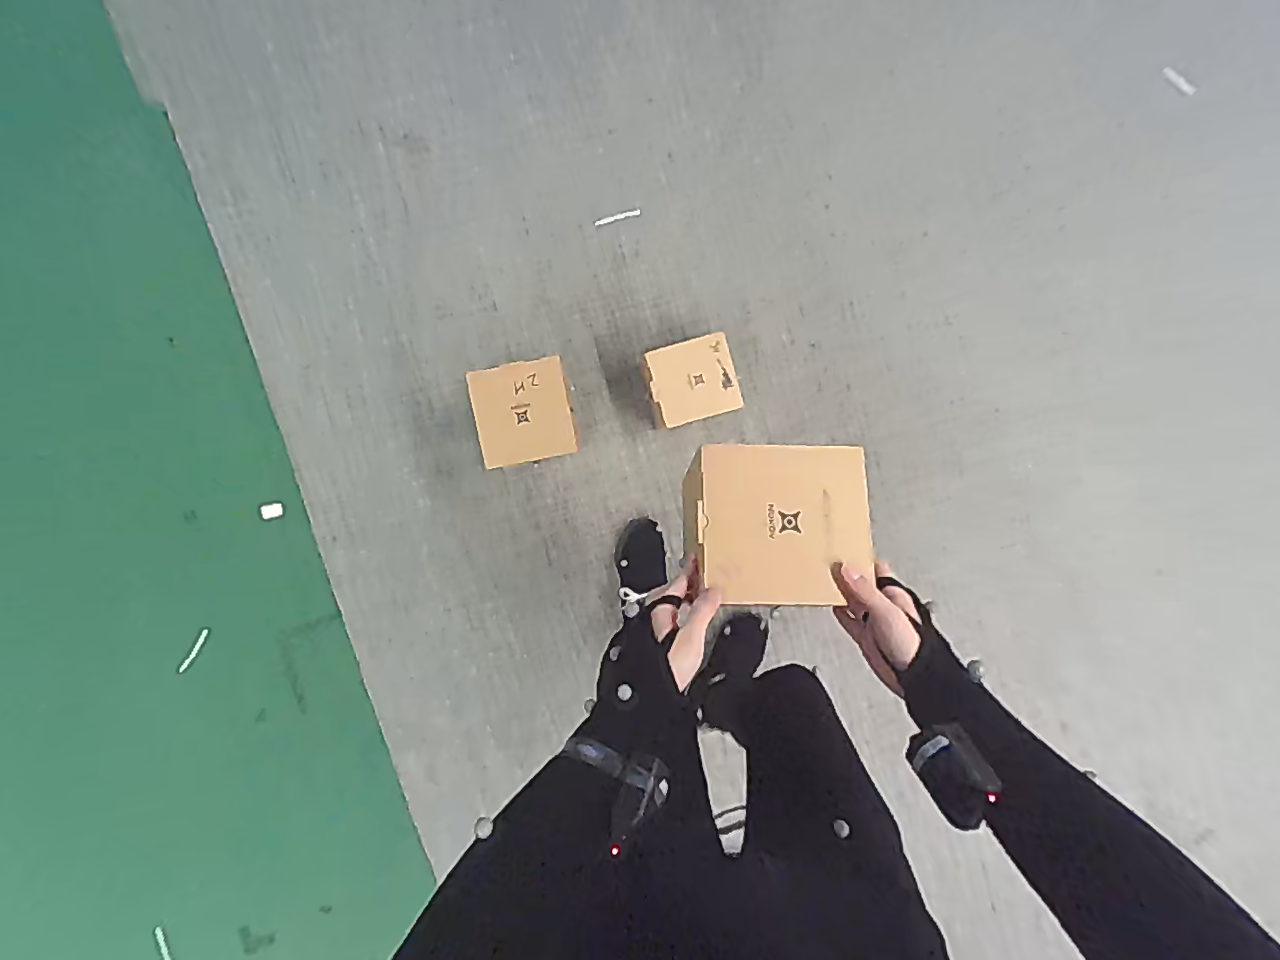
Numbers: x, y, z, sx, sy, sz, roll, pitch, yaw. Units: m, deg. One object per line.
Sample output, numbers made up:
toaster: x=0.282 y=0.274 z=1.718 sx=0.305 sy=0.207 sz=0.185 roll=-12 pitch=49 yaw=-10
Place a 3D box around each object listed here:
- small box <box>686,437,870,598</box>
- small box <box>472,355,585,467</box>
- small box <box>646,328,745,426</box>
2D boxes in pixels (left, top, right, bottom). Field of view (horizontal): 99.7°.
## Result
small box: x=0.146 y=0.053 z=0.637 sx=0.179 sy=0.176 sz=0.168 roll=0 pitch=77 yaw=-1
small box: x=-0.203 y=-0.128 z=1.033 sx=0.168 sy=0.176 sz=0.179 roll=-11 pitch=94 yaw=-3
small box: x=0.117 y=-0.221 z=1.208 sx=0.179 sy=0.176 sz=0.168 roll=-16 pitch=95 yaw=-1
